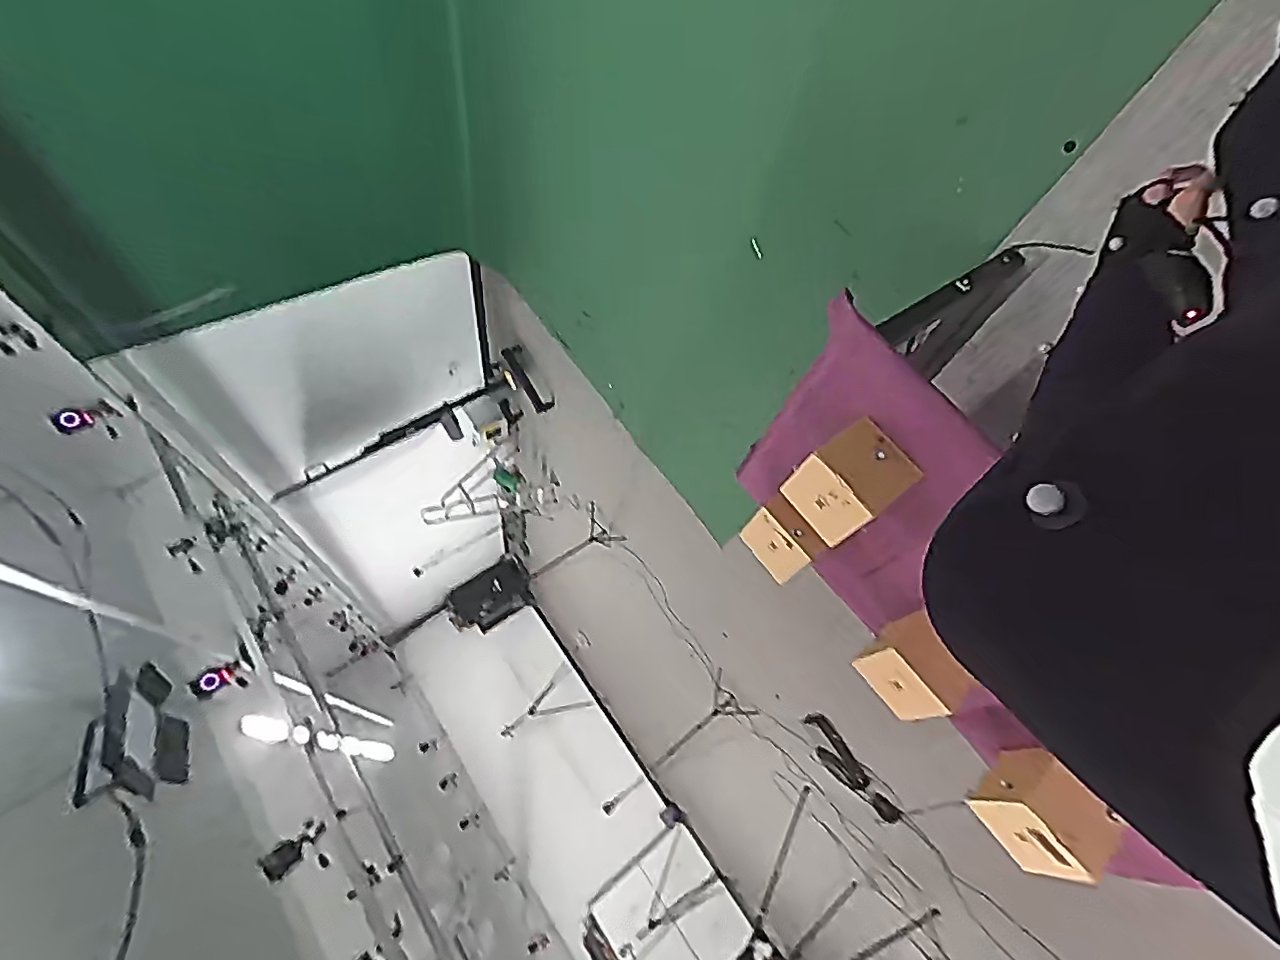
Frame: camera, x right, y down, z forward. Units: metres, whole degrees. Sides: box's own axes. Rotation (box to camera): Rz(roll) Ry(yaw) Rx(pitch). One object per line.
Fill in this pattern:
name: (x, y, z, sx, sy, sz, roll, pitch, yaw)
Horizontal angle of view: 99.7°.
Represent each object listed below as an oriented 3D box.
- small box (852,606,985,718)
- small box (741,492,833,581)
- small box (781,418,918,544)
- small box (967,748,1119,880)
small box: (0.635, 0.416, 1.237, 0.168, 0.176, 0.179, 51, 154, 16)
small box: (0.391, 0.123, 1.365, 0.168, 0.176, 0.179, 51, 154, 17)
small box: (0.438, 0.002, 1.137, 0.168, 0.176, 0.179, 51, 155, 15)
small box: (0.846, 0.687, 1.133, 0.168, 0.176, 0.179, 52, 155, 18)
